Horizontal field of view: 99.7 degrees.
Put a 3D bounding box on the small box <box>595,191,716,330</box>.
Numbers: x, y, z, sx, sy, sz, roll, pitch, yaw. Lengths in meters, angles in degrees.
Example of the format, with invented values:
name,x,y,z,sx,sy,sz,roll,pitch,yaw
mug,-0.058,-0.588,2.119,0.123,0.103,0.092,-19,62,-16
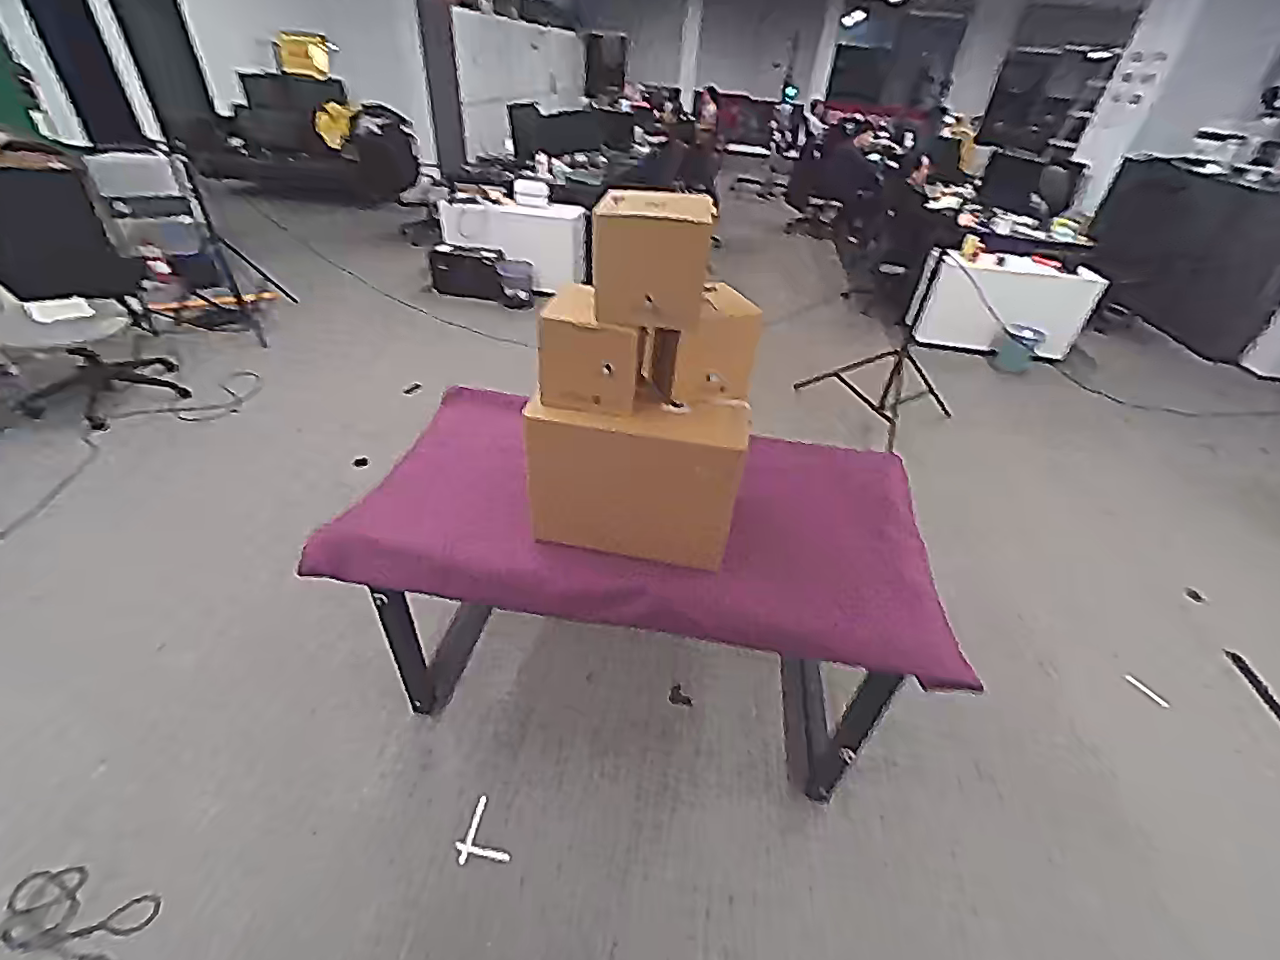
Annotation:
name,x,y,z,sx,sy,sz,roll,pitch,yaw
small box,0.026,-0.360,0.891,0.179,0.176,0.168,7,38,3

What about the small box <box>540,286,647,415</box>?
name,x,y,z,sx,sy,sz,roll,pitch,yaw
small box,-0.078,-0.236,0.988,0.168,0.176,0.179,9,37,3

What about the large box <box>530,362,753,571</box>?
name,x,y,z,sx,sy,sz,roll,pitch,yaw
large box,0.006,-0.044,1.148,0.408,0.320,0.320,9,39,4
